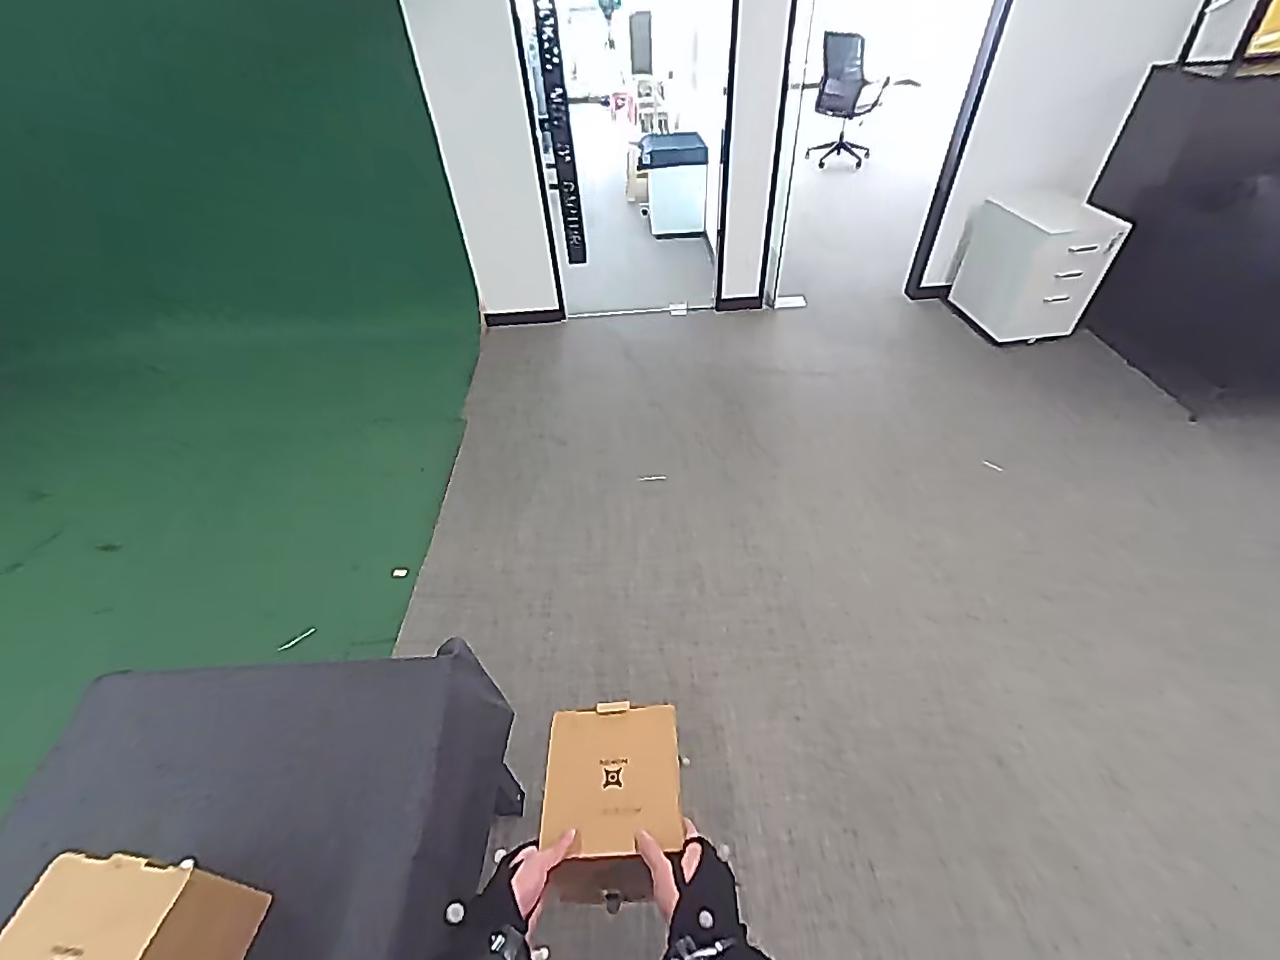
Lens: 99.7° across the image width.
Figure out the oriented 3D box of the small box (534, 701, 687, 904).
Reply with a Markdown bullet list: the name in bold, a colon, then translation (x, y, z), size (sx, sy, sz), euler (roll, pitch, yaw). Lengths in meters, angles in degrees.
- **small box**: translation (-0.027, 0.413, 0.697), size (0.168, 0.176, 0.179), euler (-4, 37, 4)

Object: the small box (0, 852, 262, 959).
- **small box**: translation (-0.567, 0.544, 0.598), size (0.168, 0.176, 0.179), euler (3, 44, 7)
